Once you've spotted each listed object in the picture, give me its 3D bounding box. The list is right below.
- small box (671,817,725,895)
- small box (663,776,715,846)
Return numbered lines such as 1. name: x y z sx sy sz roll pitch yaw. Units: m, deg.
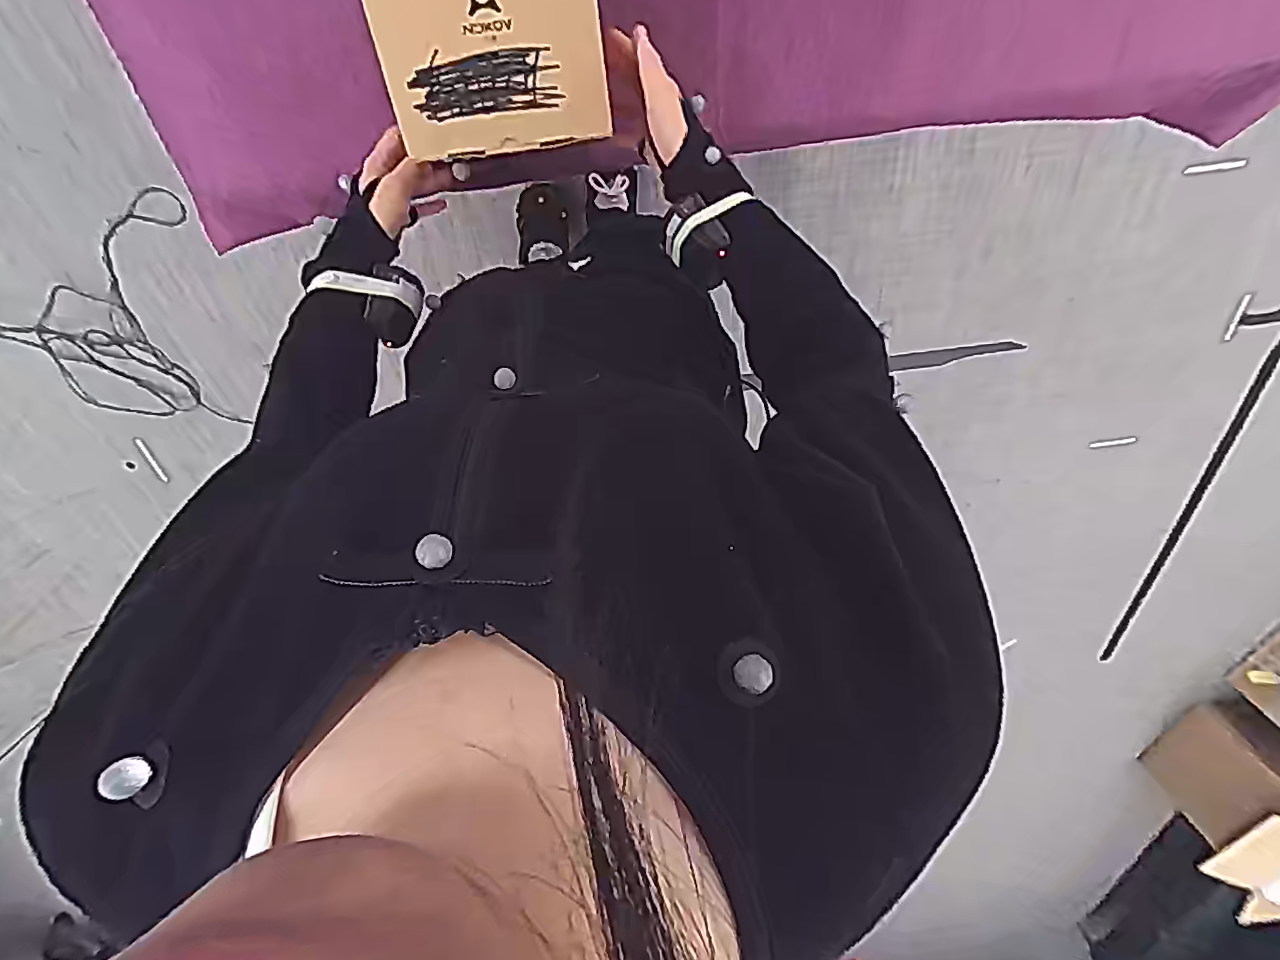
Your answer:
1. small box: 0.206 1.345 1.935 0.168 0.176 0.179 -9 121 -1
2. small box: 0.188 1.266 2.076 0.179 0.176 0.168 -9 122 0
